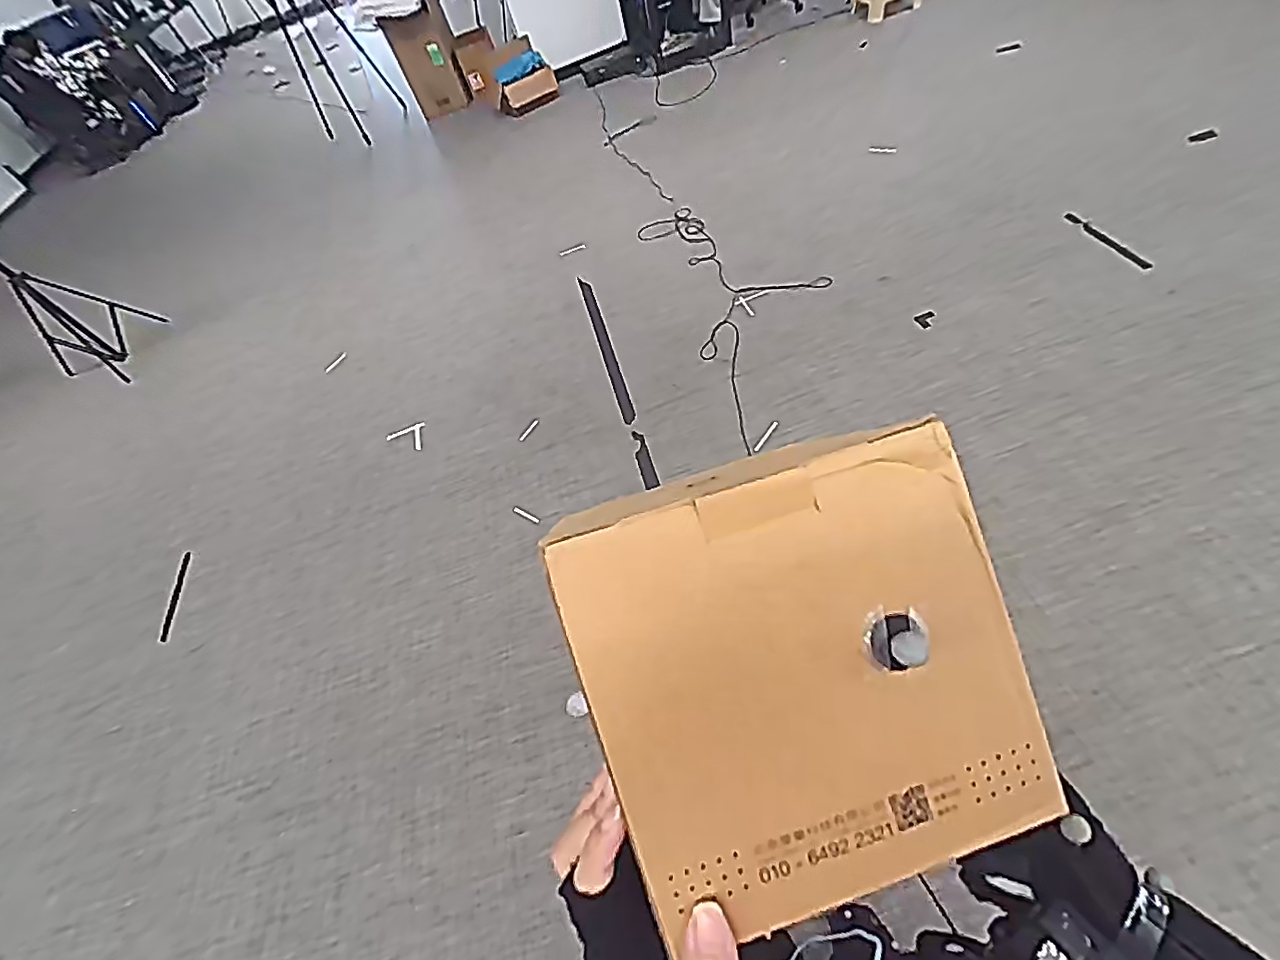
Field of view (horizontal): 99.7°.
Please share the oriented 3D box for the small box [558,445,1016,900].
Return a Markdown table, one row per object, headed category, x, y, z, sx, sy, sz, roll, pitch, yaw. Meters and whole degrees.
| category | x | y | z | sx | sy | sz | roll | pitch | yaw |
| --- | --- | --- | --- | --- | --- | --- | --- | --- | --- |
| small box | 0.064 | 0.089 | 0.307 | 0.168 | 0.179 | 0.176 | -18 | 91 | -3 |
